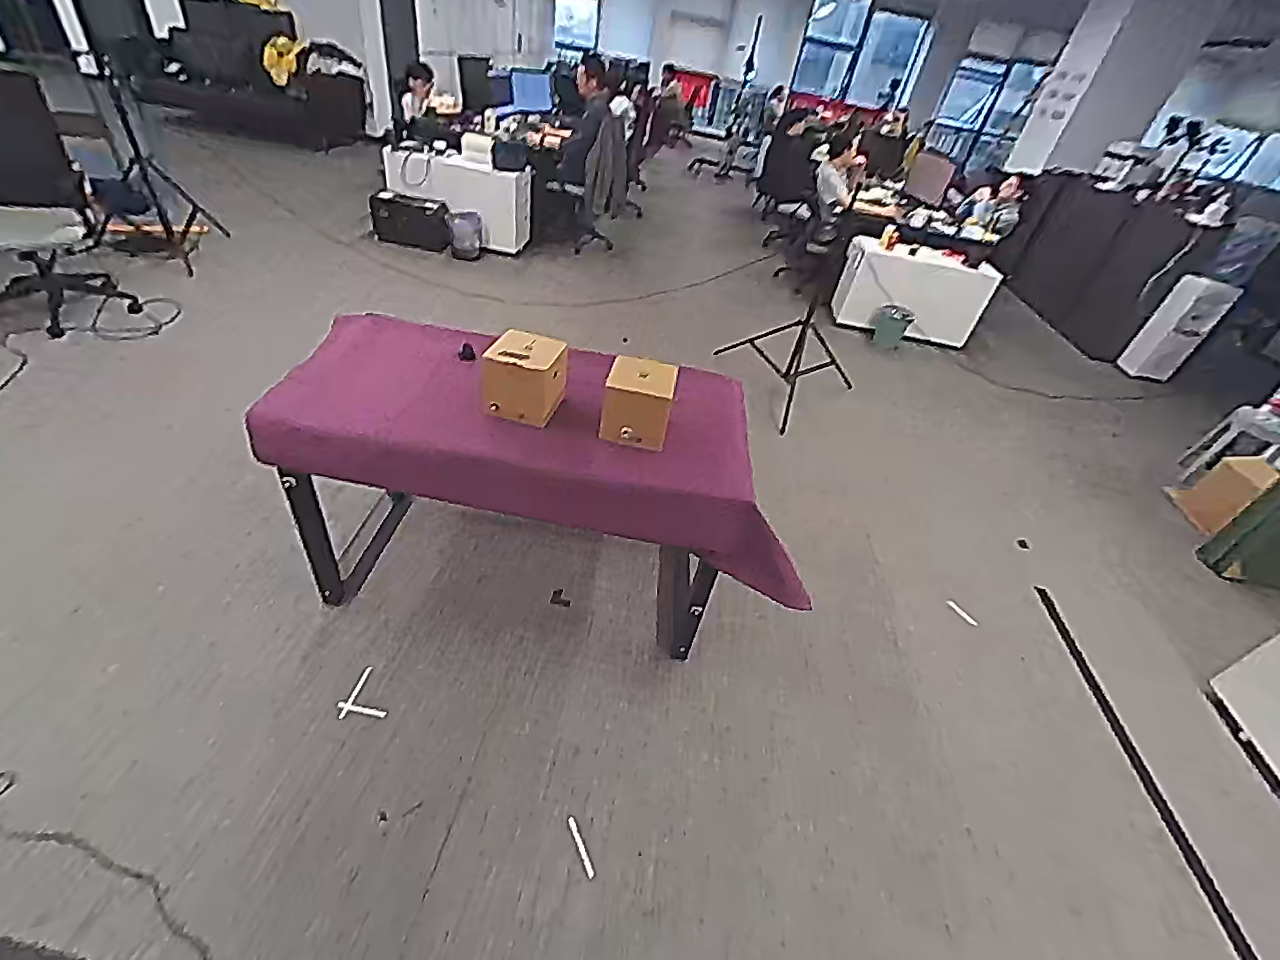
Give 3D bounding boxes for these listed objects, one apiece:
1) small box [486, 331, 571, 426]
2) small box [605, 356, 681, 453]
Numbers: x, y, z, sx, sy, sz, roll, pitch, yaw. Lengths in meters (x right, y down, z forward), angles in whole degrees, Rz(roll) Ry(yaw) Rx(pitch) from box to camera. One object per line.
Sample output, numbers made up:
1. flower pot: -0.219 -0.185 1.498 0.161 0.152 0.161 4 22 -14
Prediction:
1. small box: -0.288 -0.264 1.420 0.168 0.176 0.179 15 38 4
2. small box: 0.007 -0.197 1.413 0.168 0.176 0.179 11 39 1
